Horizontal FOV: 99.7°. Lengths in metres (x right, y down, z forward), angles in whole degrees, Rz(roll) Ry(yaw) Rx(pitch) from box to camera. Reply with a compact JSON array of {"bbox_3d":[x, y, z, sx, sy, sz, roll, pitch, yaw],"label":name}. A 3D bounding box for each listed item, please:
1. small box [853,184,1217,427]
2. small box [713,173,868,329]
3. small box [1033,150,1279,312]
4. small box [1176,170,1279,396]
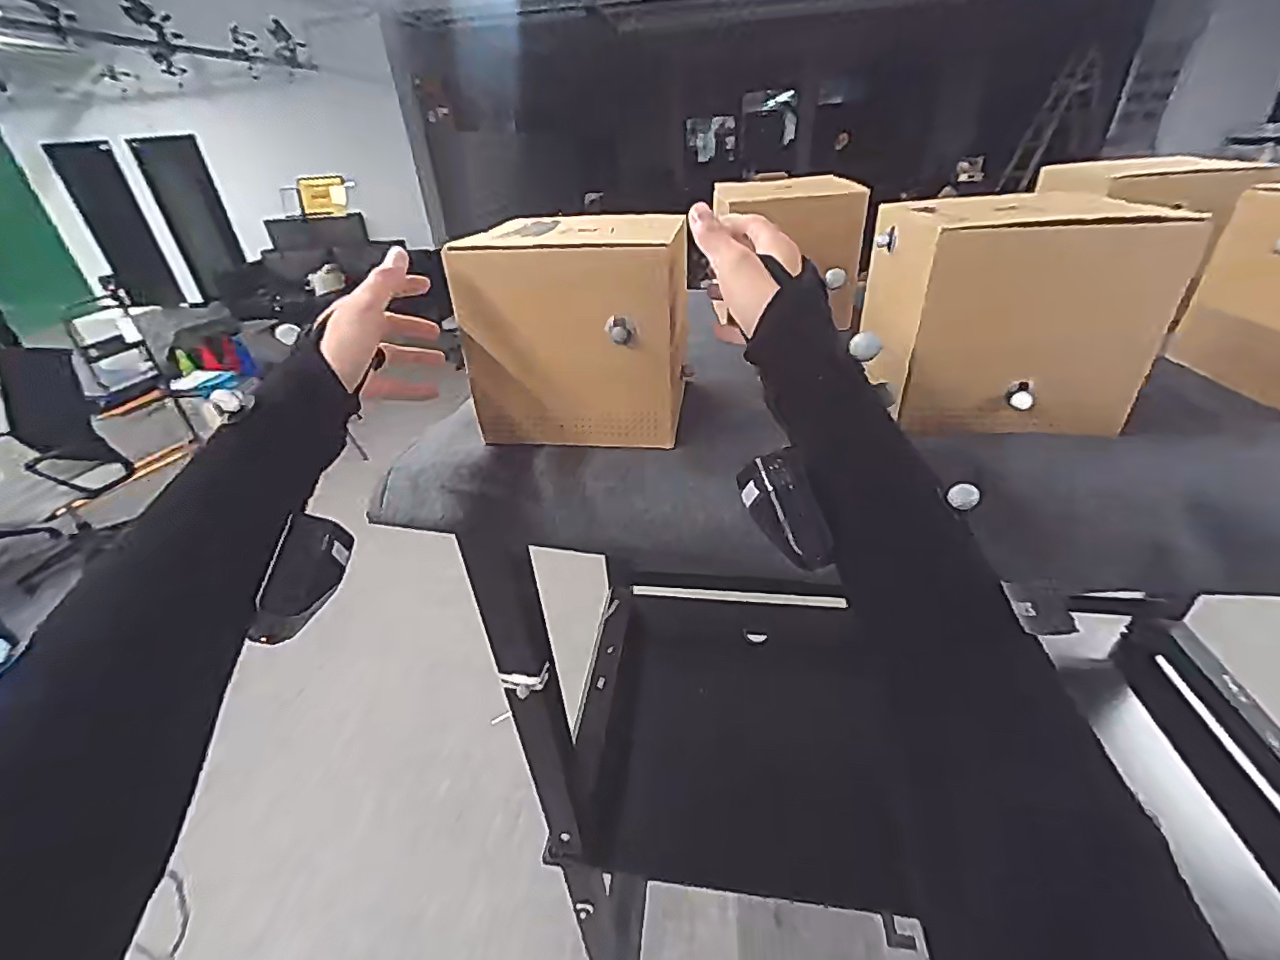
[{"bbox_3d":[0.303,-0.153,0.468,0.179,0.176,0.168,1,31,7],"label":"small box"},{"bbox_3d":[0.188,-0.313,0.736,0.168,0.176,0.179,-4,32,3],"label":"small box"},{"bbox_3d":[0.619,-0.318,0.694,0.179,0.176,0.168,1,33,8],"label":"small box"},{"bbox_3d":[0.626,-0.164,0.450,0.168,0.176,0.179,0,31,6],"label":"small box"}]
